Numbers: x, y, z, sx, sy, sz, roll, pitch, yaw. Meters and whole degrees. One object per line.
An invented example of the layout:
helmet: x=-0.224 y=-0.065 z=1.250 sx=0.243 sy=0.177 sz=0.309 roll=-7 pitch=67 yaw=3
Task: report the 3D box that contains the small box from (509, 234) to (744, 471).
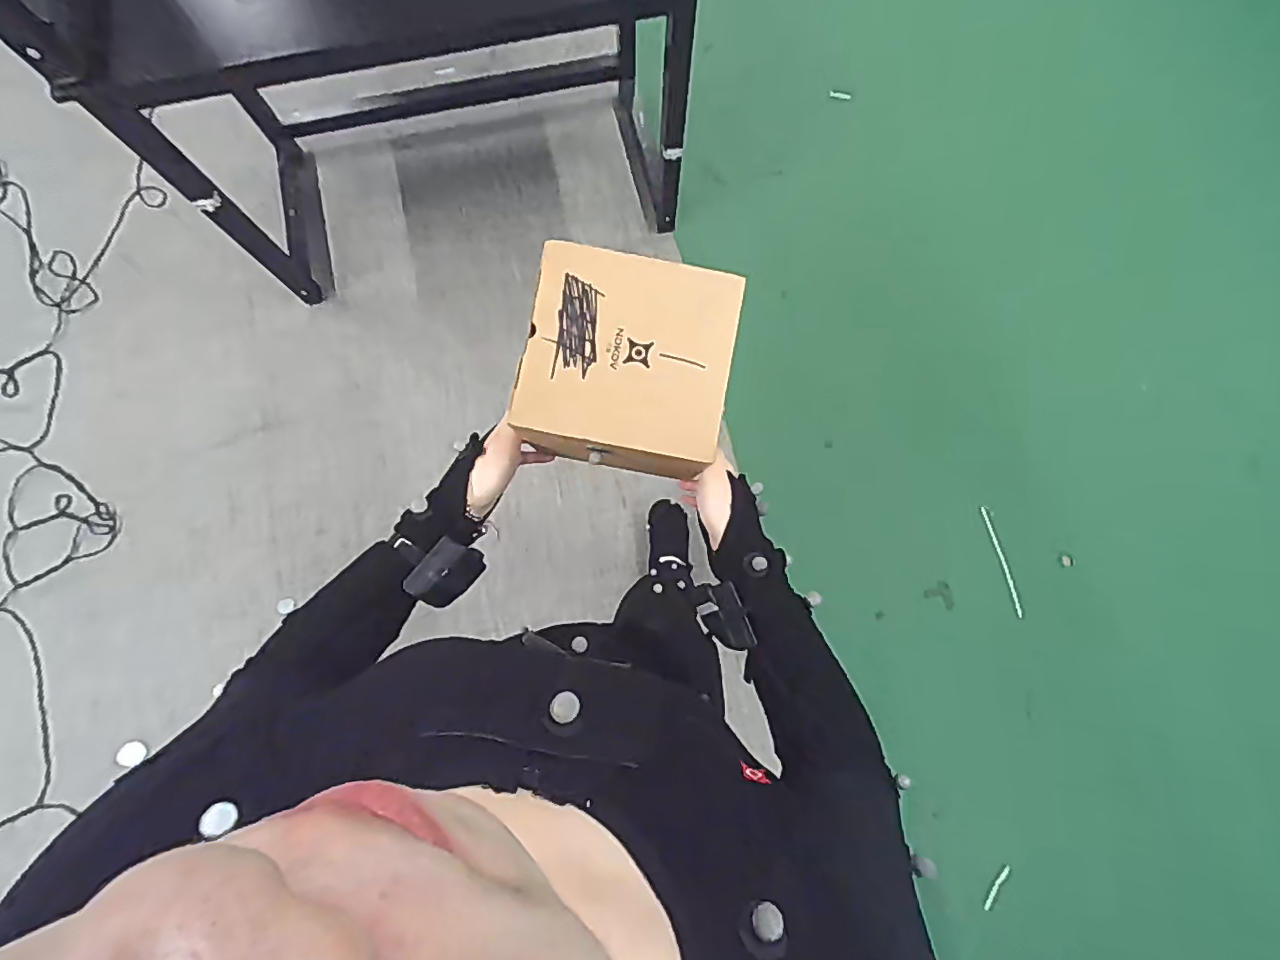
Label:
small box: x=-0.013 y=-0.109 z=0.535 sx=0.179 sy=0.176 sz=0.168 roll=11 pitch=84 yaw=-2
